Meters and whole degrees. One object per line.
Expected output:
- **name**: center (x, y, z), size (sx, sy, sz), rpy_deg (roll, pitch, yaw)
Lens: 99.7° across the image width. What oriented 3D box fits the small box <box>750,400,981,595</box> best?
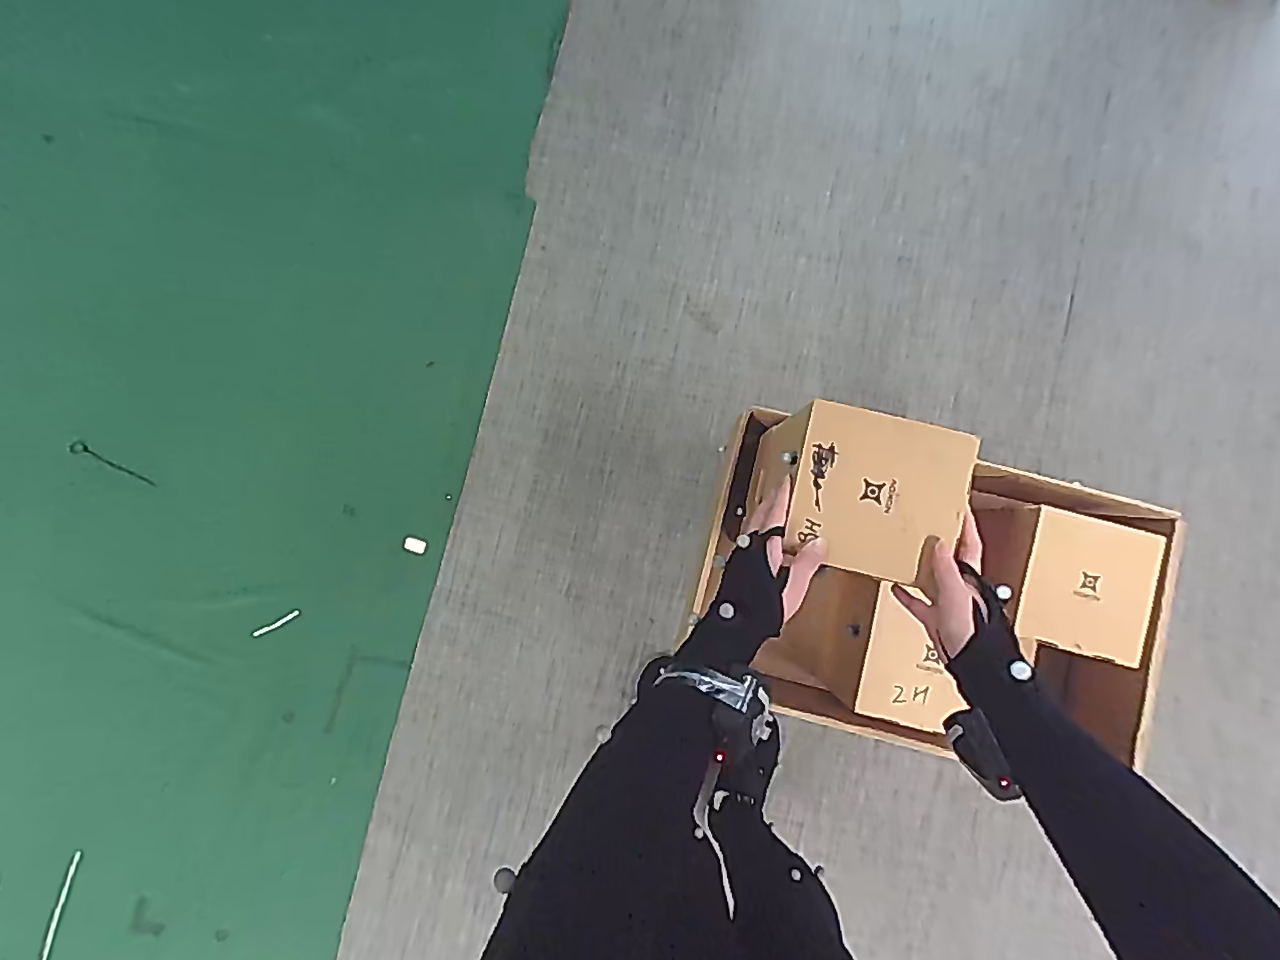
- **small box**: center (0.244, 0.022, 0.625), size (0.179, 0.176, 0.168), rpy_deg (14, 86, 1)
